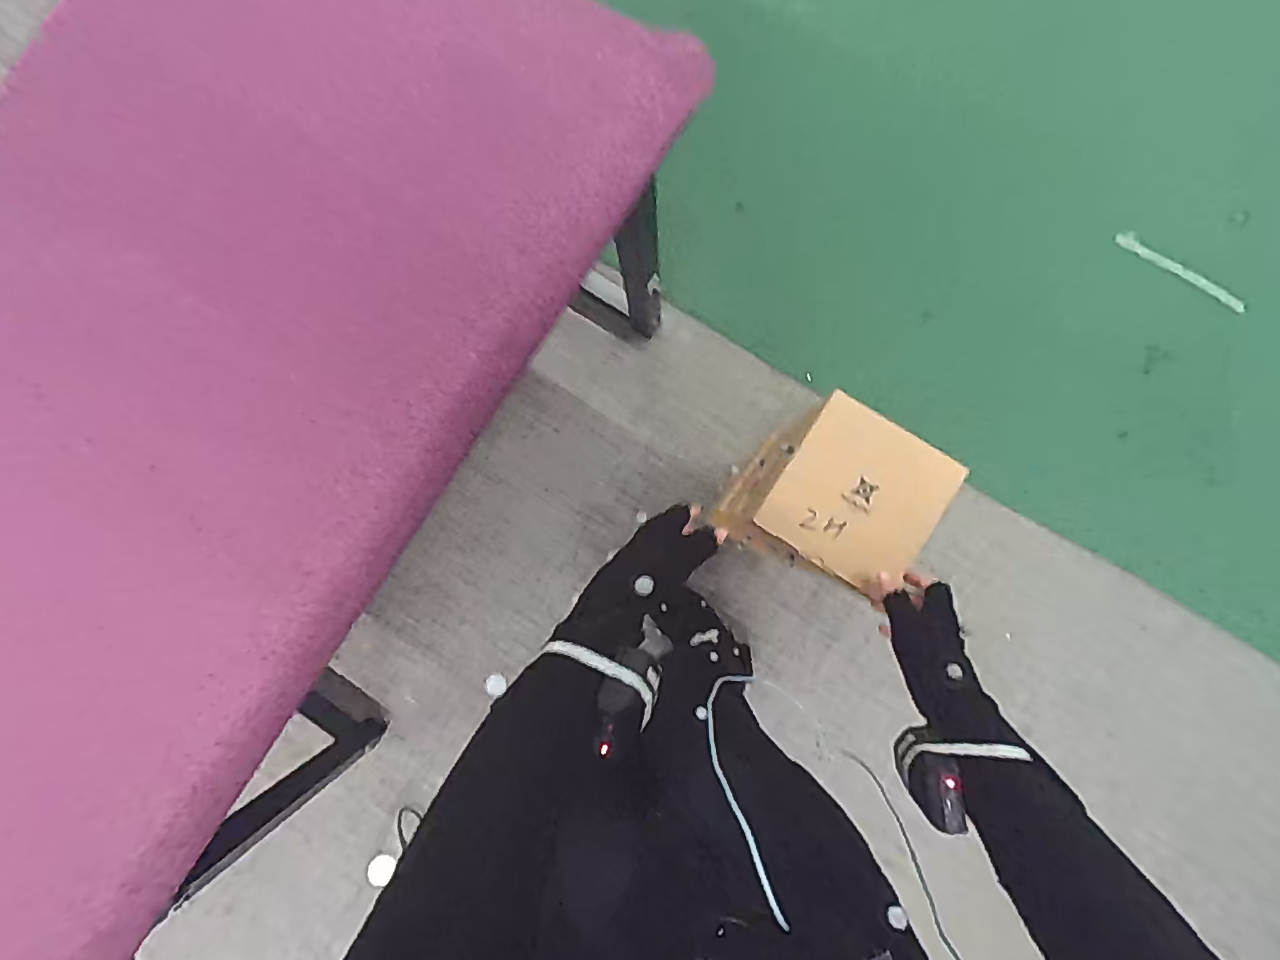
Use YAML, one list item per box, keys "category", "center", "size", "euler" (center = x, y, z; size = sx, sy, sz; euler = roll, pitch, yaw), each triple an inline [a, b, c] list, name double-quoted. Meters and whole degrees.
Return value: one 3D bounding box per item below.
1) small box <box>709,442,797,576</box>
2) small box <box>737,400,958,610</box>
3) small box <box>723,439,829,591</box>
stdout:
- category: "small box"
  center: [0.246, 0.051, 0.997]
  size: [0.179, 0.176, 0.168]
  euler: [38, 89, 5]
- category: "small box"
  center: [0.237, 0.029, 0.671]
  size: [0.168, 0.176, 0.179]
  euler: [34, 90, 5]
- category: "small box"
  center: [0.248, 0.043, 0.834]
  size: [0.179, 0.176, 0.168]
  euler: [37, 89, 5]
